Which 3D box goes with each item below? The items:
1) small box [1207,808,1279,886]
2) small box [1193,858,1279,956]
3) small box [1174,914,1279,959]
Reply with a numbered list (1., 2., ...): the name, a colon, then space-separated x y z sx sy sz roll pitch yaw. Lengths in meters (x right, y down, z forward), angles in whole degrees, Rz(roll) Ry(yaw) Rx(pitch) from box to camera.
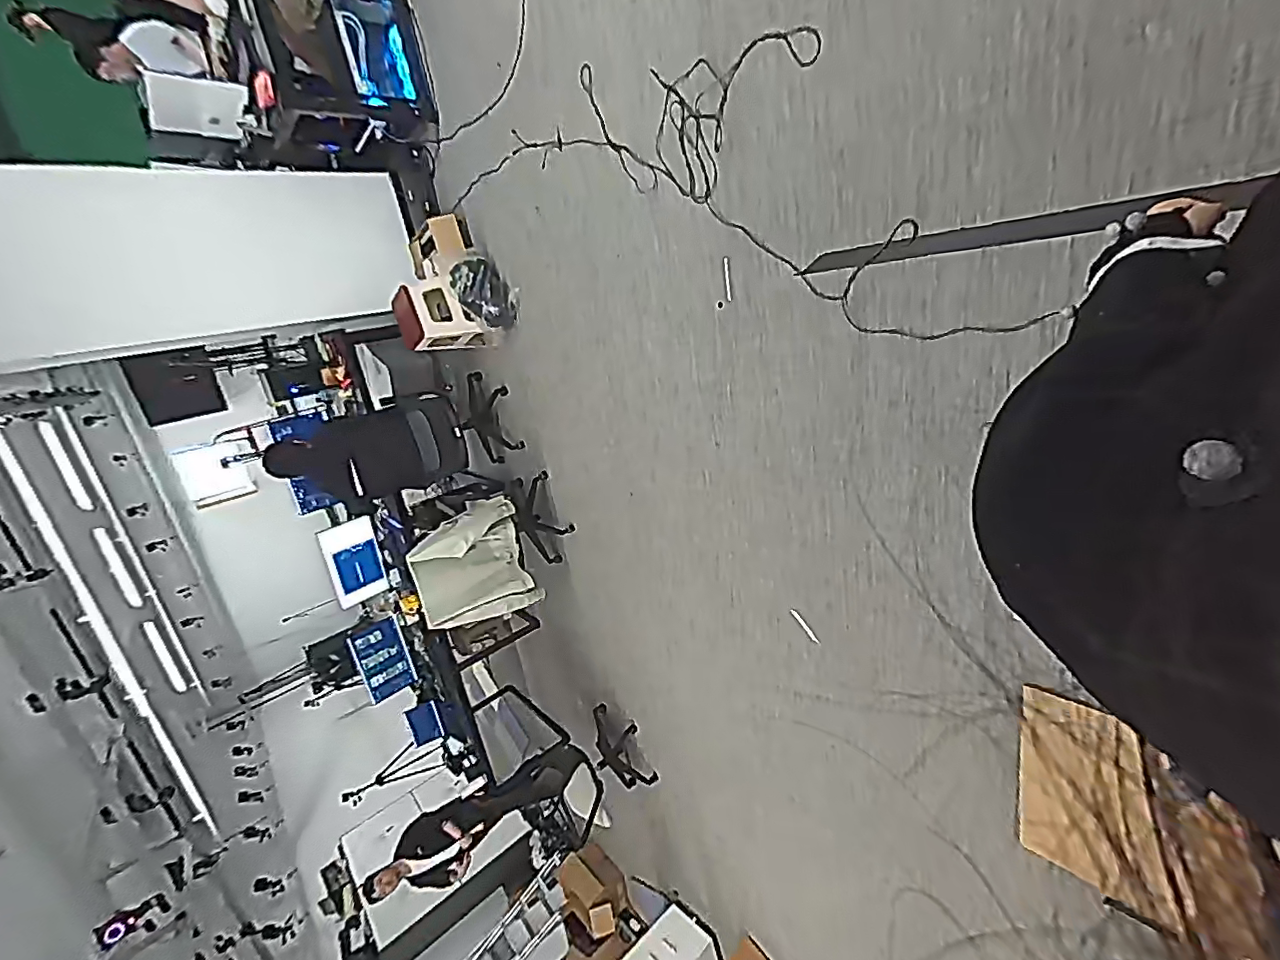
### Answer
1. small box: 1.368 0.874 1.188 0.168 0.176 0.179 7 115 51
2. small box: 1.246 0.931 1.094 0.168 0.176 0.179 5 114 51
3. small box: 1.115 0.983 1.007 0.168 0.176 0.179 5 113 51
